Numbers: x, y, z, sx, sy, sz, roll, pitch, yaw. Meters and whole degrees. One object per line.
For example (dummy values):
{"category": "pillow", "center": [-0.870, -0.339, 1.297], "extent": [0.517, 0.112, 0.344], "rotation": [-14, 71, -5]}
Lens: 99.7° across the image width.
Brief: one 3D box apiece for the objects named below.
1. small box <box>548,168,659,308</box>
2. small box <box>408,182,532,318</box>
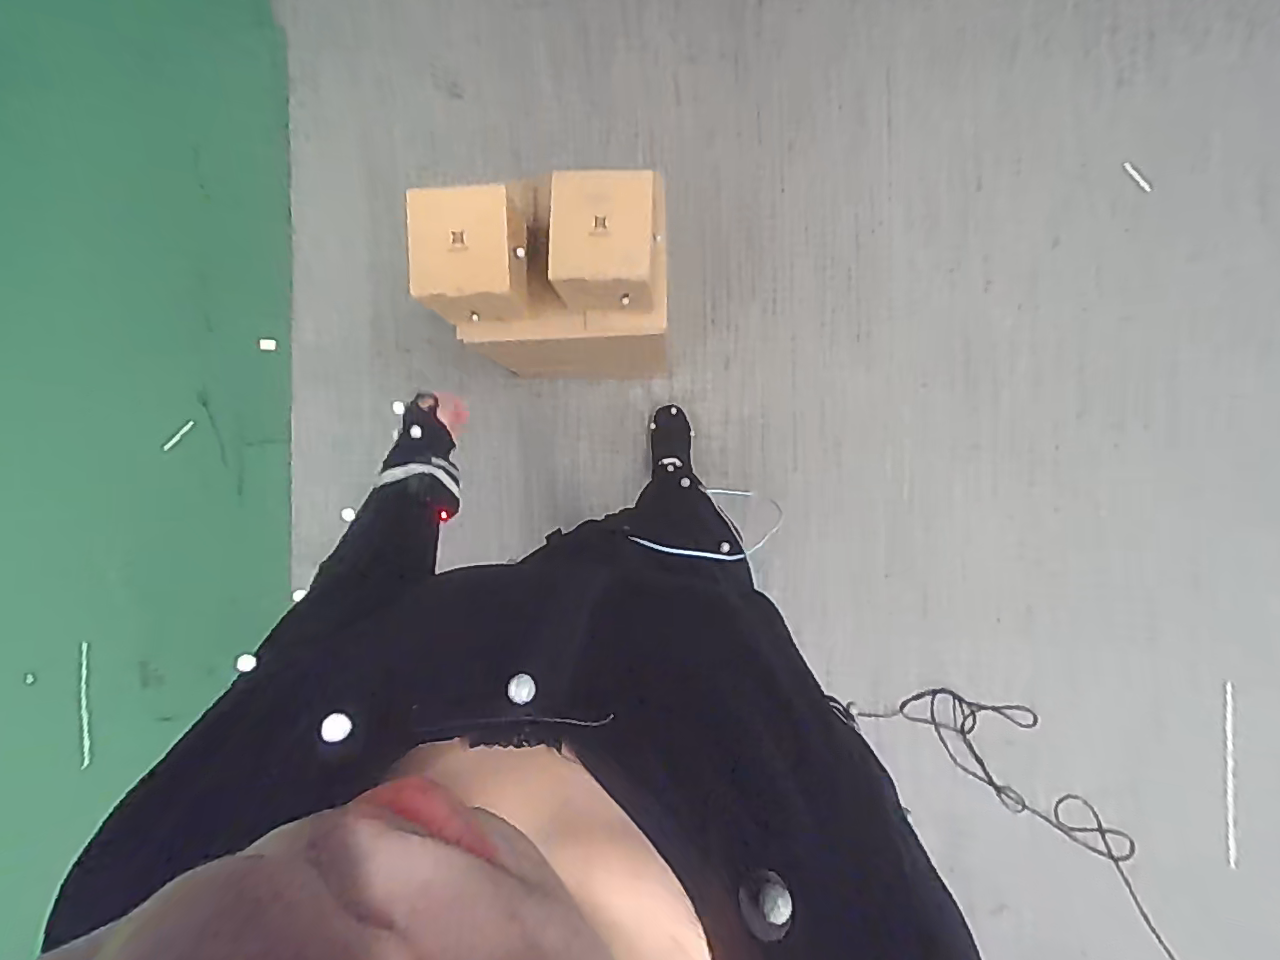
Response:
{"category": "small box", "center": [-0.055, -0.409, 0.939], "extent": [0.168, 0.176, 0.179], "rotation": [3, 90, 5]}
{"category": "small box", "center": [-0.291, -0.397, 0.956], "extent": [0.168, 0.176, 0.179], "rotation": [-1, 93, 3]}
